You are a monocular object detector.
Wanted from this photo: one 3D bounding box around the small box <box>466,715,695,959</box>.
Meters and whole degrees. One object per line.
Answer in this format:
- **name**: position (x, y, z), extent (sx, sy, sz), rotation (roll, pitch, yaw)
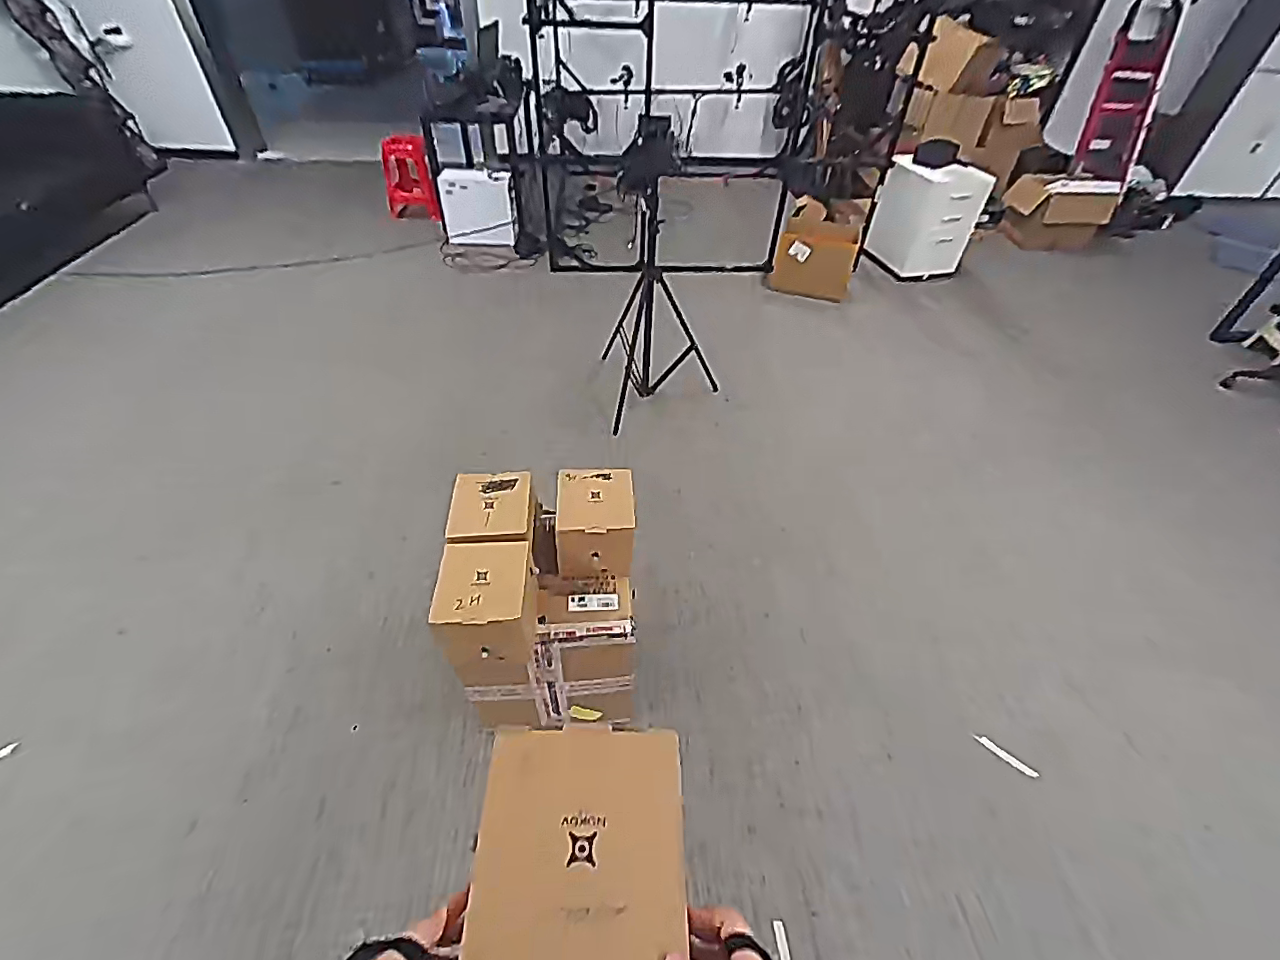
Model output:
- **small box**: position (-0.049, 0.334, 0.494), extent (0.168, 0.176, 0.179), rotation (3, 50, -4)
